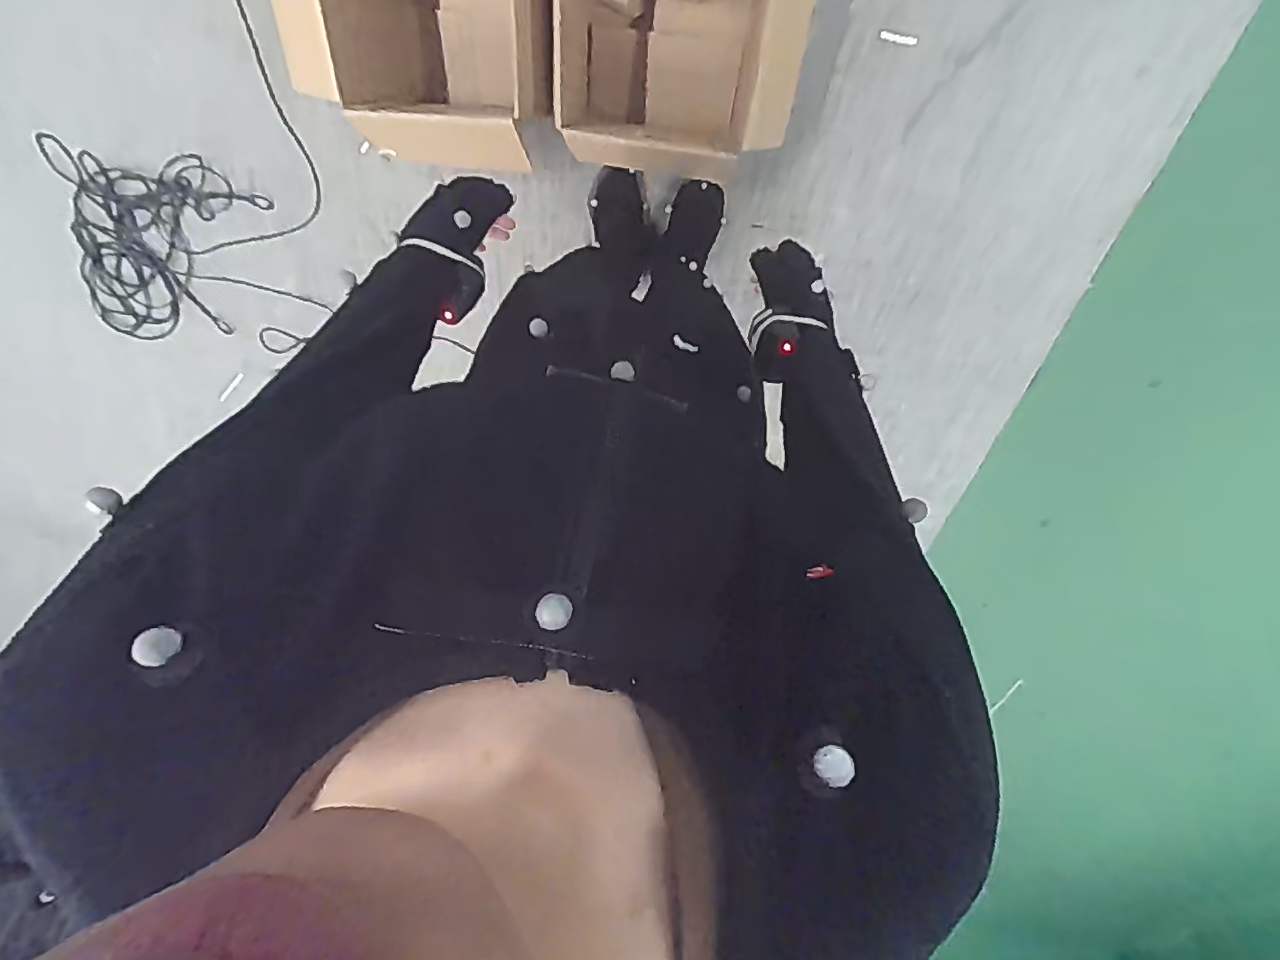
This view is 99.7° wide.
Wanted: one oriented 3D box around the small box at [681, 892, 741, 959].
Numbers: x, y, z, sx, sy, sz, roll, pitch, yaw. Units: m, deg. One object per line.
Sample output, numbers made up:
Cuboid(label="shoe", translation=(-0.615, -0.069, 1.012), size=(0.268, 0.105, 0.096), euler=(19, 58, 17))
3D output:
Cuboid(label="small box", translation=(0.230, 1.491, 1.776), size=(0.168, 0.176, 0.179), euler=(7, 127, -1))
